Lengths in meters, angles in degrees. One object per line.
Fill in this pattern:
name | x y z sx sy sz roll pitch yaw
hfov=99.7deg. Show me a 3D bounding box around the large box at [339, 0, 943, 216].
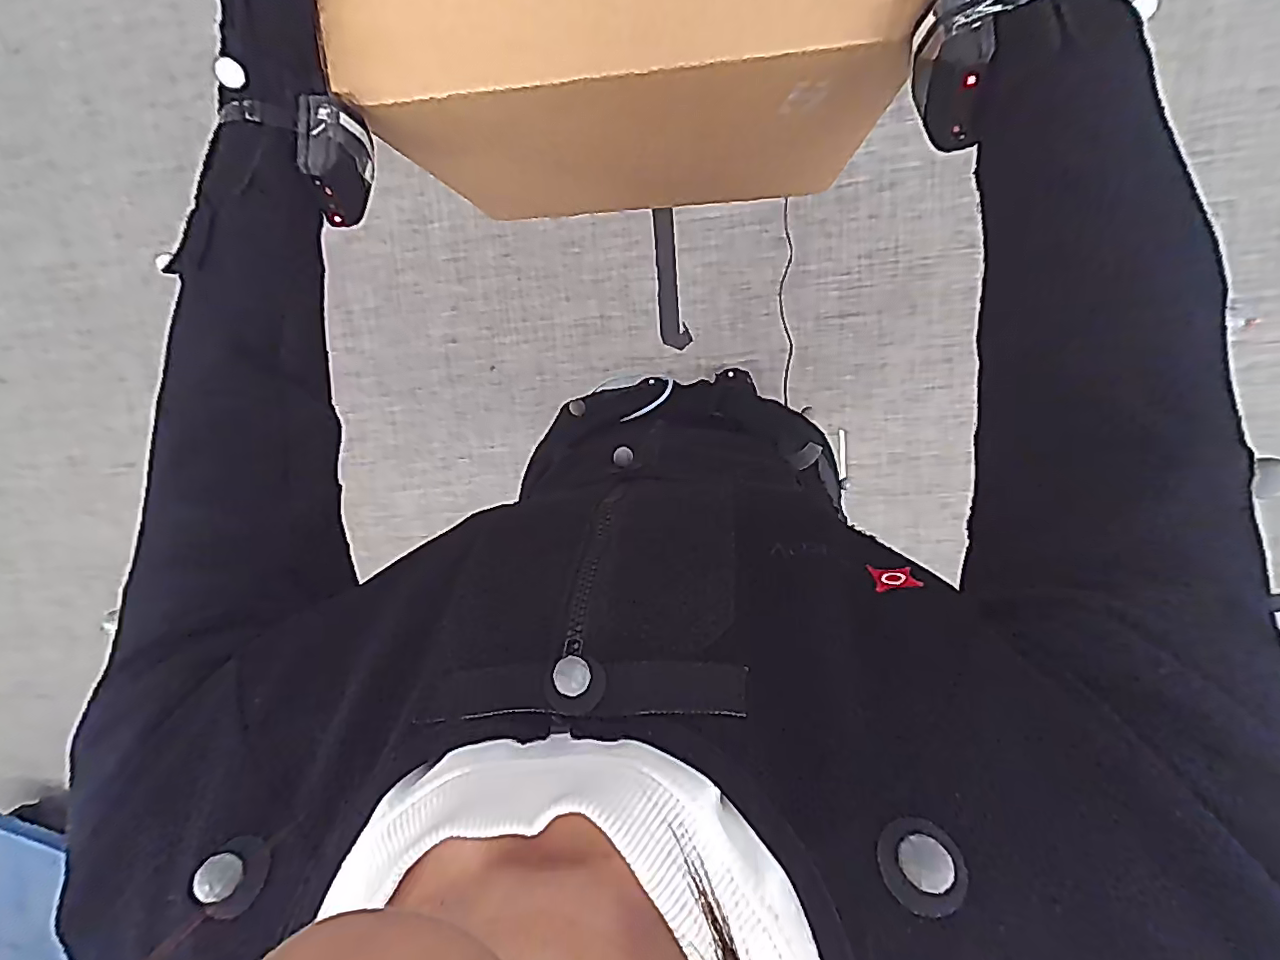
large box | -0.003 -0.456 0.478 0.408 0.320 0.320 -2 102 6
